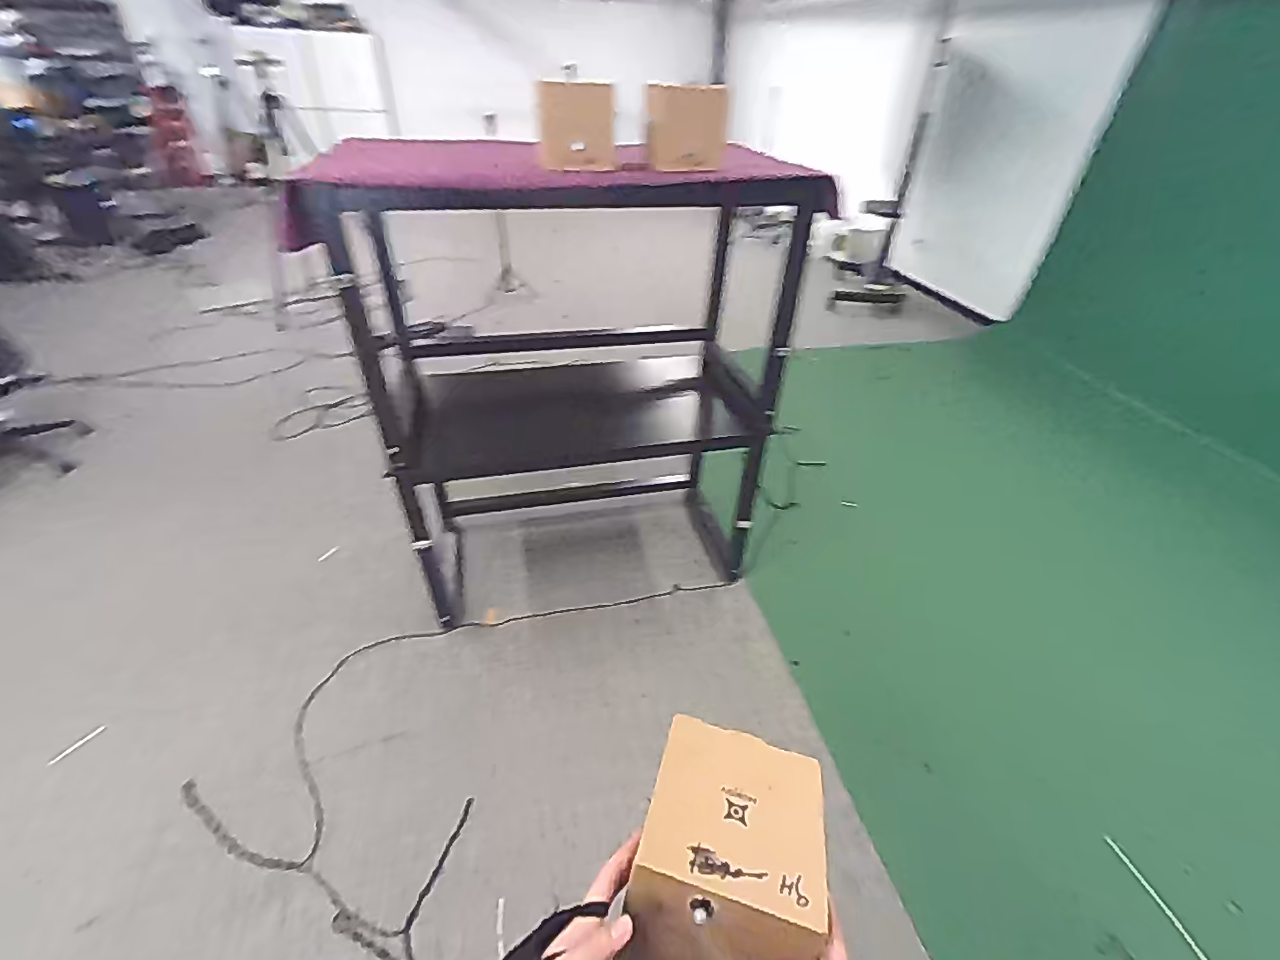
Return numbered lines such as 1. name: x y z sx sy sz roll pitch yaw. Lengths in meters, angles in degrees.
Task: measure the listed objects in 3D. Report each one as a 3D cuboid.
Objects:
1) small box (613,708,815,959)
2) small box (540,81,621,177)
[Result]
1. small box: 0.076 0.386 0.570 0.168 0.176 0.179 13 23 10
2. small box: -0.142 -0.819 1.260 0.168 0.176 0.179 -6 38 -12
